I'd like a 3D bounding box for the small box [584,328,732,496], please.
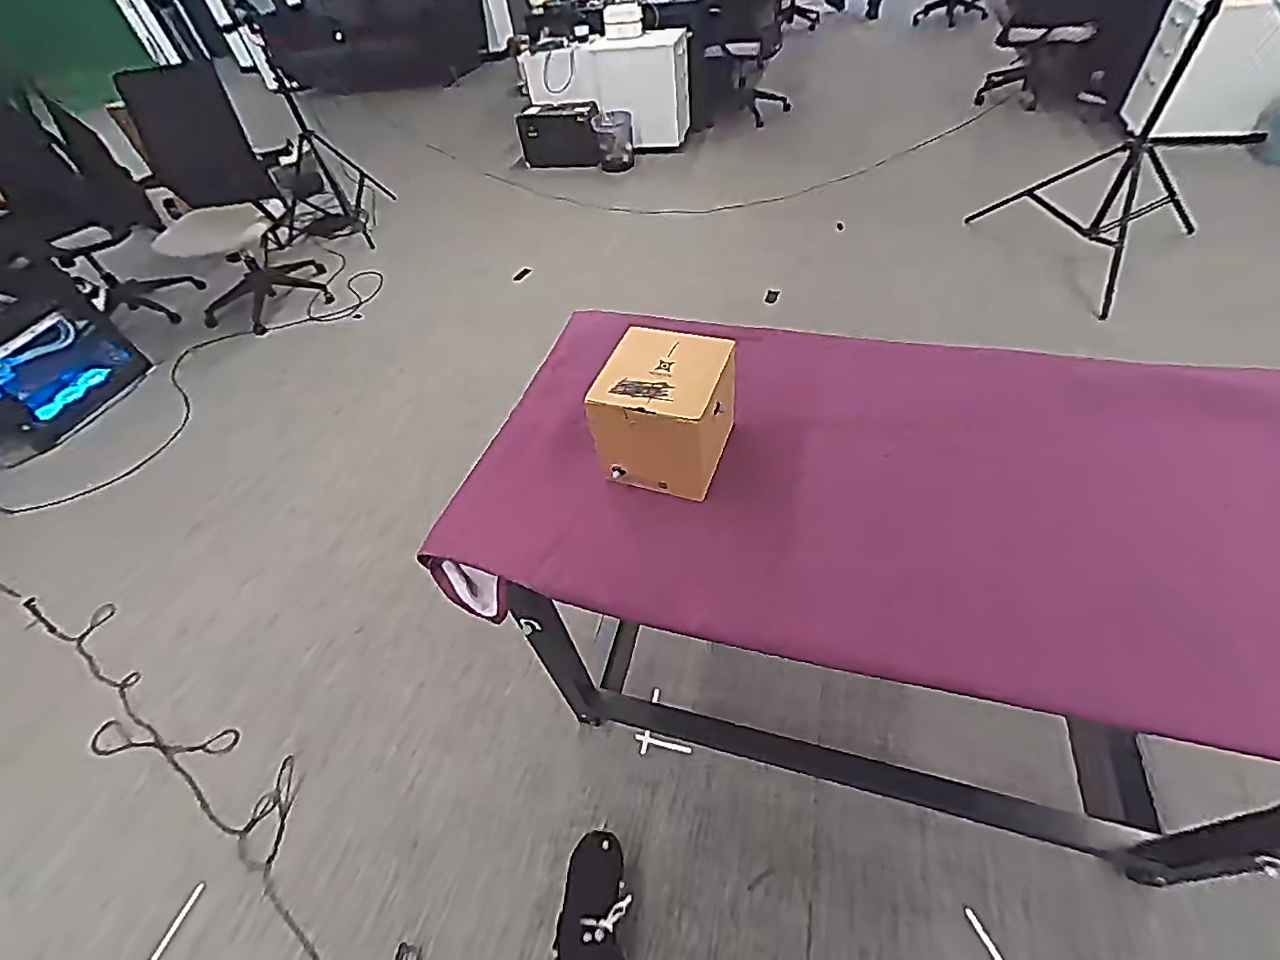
[{"bbox_3d":[0.038,-0.101,0.816,0.168,0.176,0.179,13,53,18],"label":"small box"}]
